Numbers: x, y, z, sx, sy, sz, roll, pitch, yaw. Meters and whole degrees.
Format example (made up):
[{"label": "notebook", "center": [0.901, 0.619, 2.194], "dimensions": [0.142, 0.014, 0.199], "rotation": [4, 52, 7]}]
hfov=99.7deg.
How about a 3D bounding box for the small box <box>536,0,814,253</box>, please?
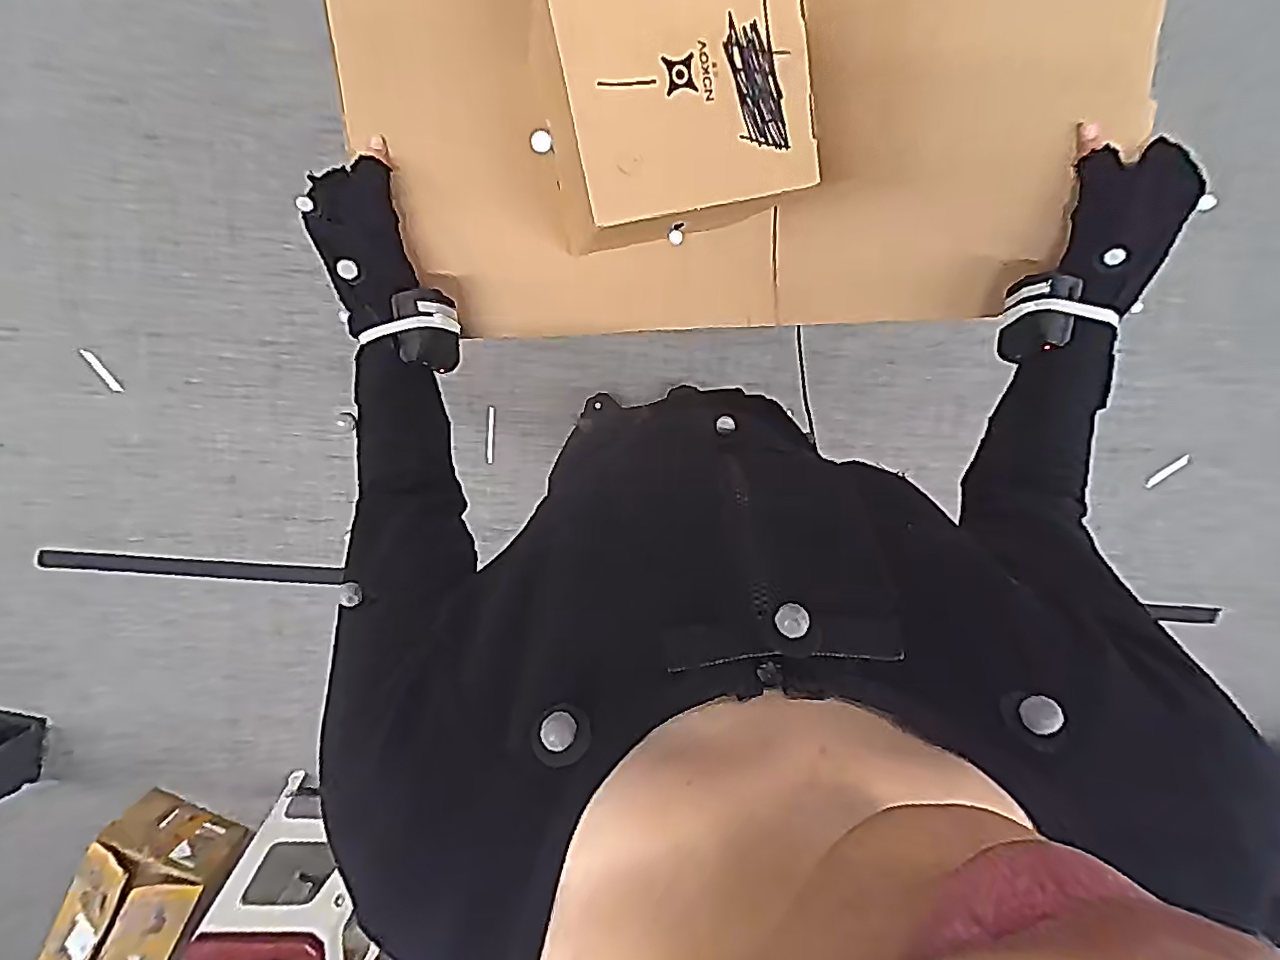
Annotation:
[{"label": "small box", "center": [0.019, -0.298, 0.451], "dimensions": [0.179, 0.176, 0.168], "rotation": [-15, 108, -8]}]
